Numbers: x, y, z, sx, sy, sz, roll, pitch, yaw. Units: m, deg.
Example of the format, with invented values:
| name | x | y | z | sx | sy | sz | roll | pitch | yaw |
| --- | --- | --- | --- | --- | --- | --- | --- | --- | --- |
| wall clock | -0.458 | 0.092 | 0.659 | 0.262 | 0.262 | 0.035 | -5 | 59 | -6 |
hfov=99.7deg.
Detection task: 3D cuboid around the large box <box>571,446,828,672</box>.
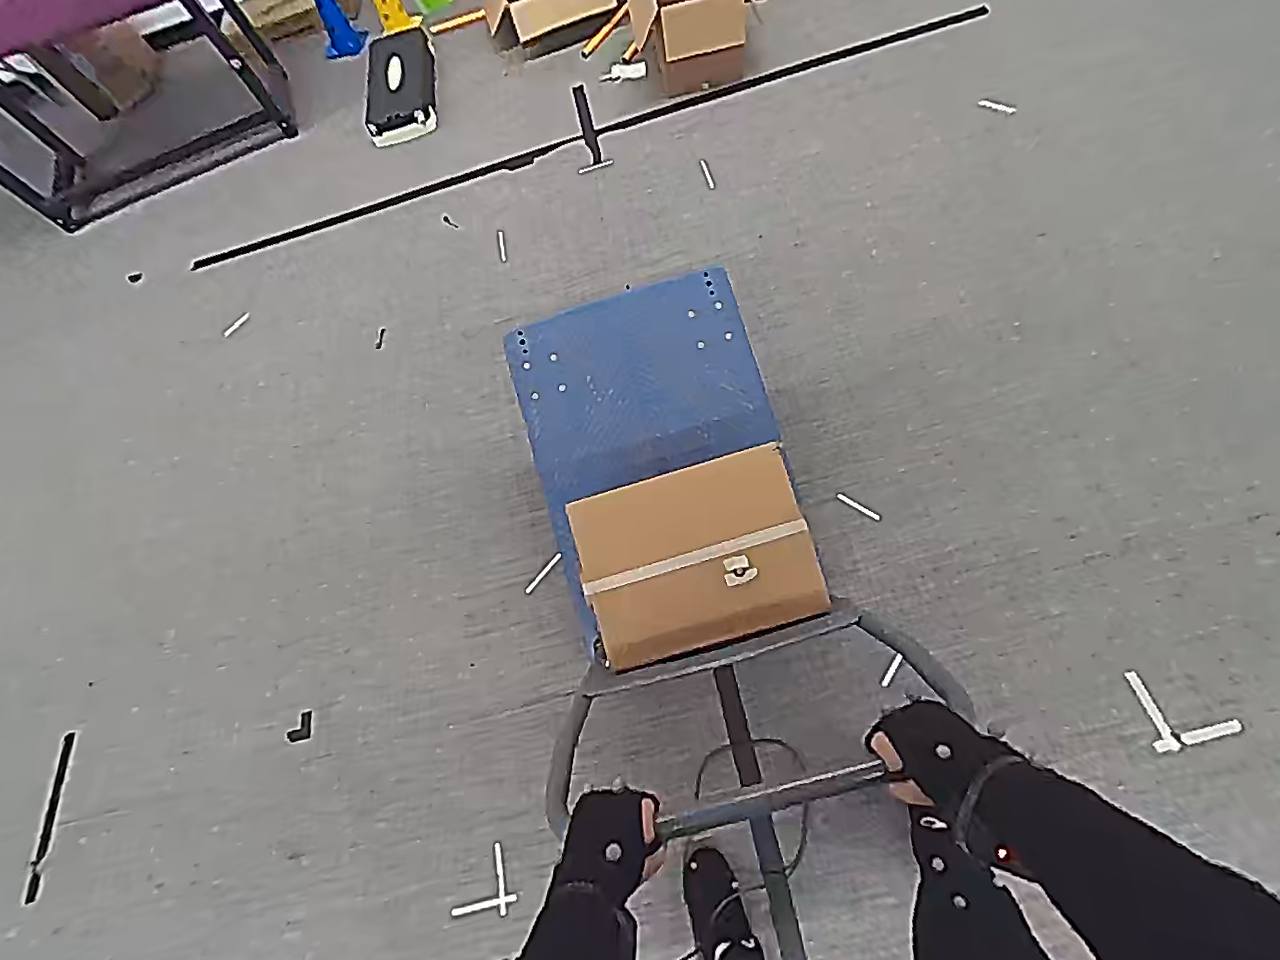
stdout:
| name | x | y | z | sx | sy | sz | roll | pitch | yaw |
| --- | --- | --- | --- | --- | --- | --- | --- | --- | --- |
| large box | 0.110 | 0.158 | 1.128 | 0.408 | 0.320 | 0.320 | -18 | 84 | 1 |
